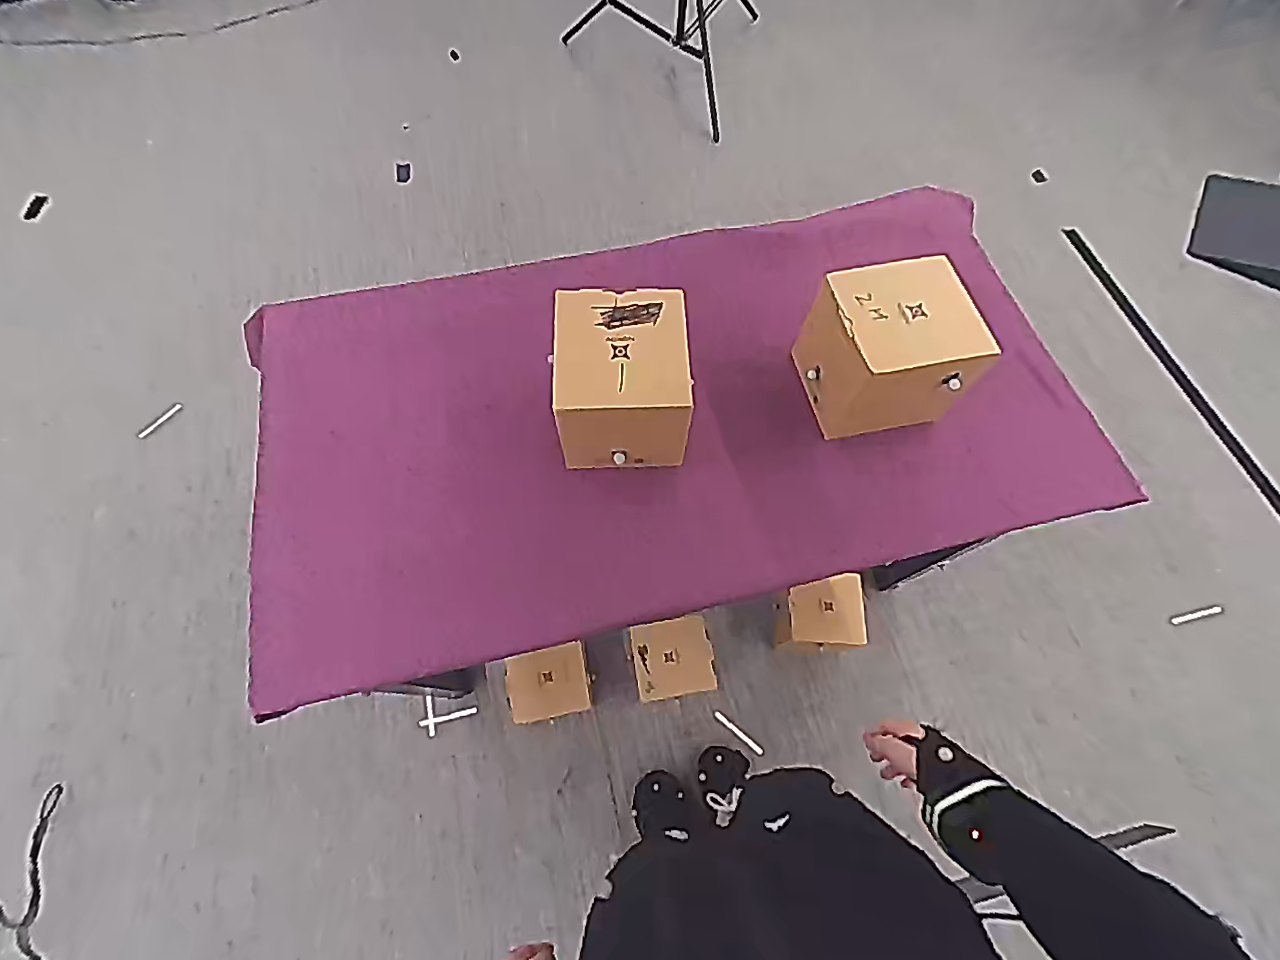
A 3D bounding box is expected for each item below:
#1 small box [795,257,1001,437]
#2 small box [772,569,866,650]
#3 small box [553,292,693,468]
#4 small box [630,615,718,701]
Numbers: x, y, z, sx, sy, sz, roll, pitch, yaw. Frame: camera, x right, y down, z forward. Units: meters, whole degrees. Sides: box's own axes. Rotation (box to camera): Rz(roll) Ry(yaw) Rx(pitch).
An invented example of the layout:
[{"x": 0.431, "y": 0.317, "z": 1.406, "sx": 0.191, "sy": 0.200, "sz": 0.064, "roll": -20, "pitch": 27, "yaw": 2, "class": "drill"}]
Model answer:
[{"x": 0.343, "y": -0.179, "z": 0.757, "sx": 0.179, "sy": 0.176, "sz": 0.168, "roll": -11, "pitch": 66, "yaw": -5, "class": "small box"}, {"x": 0.435, "y": 0.325, "z": 1.338, "sx": 0.179, "sy": 0.176, "sz": 0.168, "roll": 3, "pitch": 67, "yaw": 1, "class": "small box"}, {"x": -0.023, "y": -0.129, "z": 0.730, "sx": 0.168, "sy": 0.176, "sz": 0.179, "roll": -1, "pitch": 67, "yaw": -1, "class": "small box"}, {"x": 0.072, "y": 0.426, "z": 1.287, "sx": 0.179, "sy": 0.176, "sz": 0.168, "roll": -8, "pitch": 67, "yaw": -5, "class": "small box"}]
